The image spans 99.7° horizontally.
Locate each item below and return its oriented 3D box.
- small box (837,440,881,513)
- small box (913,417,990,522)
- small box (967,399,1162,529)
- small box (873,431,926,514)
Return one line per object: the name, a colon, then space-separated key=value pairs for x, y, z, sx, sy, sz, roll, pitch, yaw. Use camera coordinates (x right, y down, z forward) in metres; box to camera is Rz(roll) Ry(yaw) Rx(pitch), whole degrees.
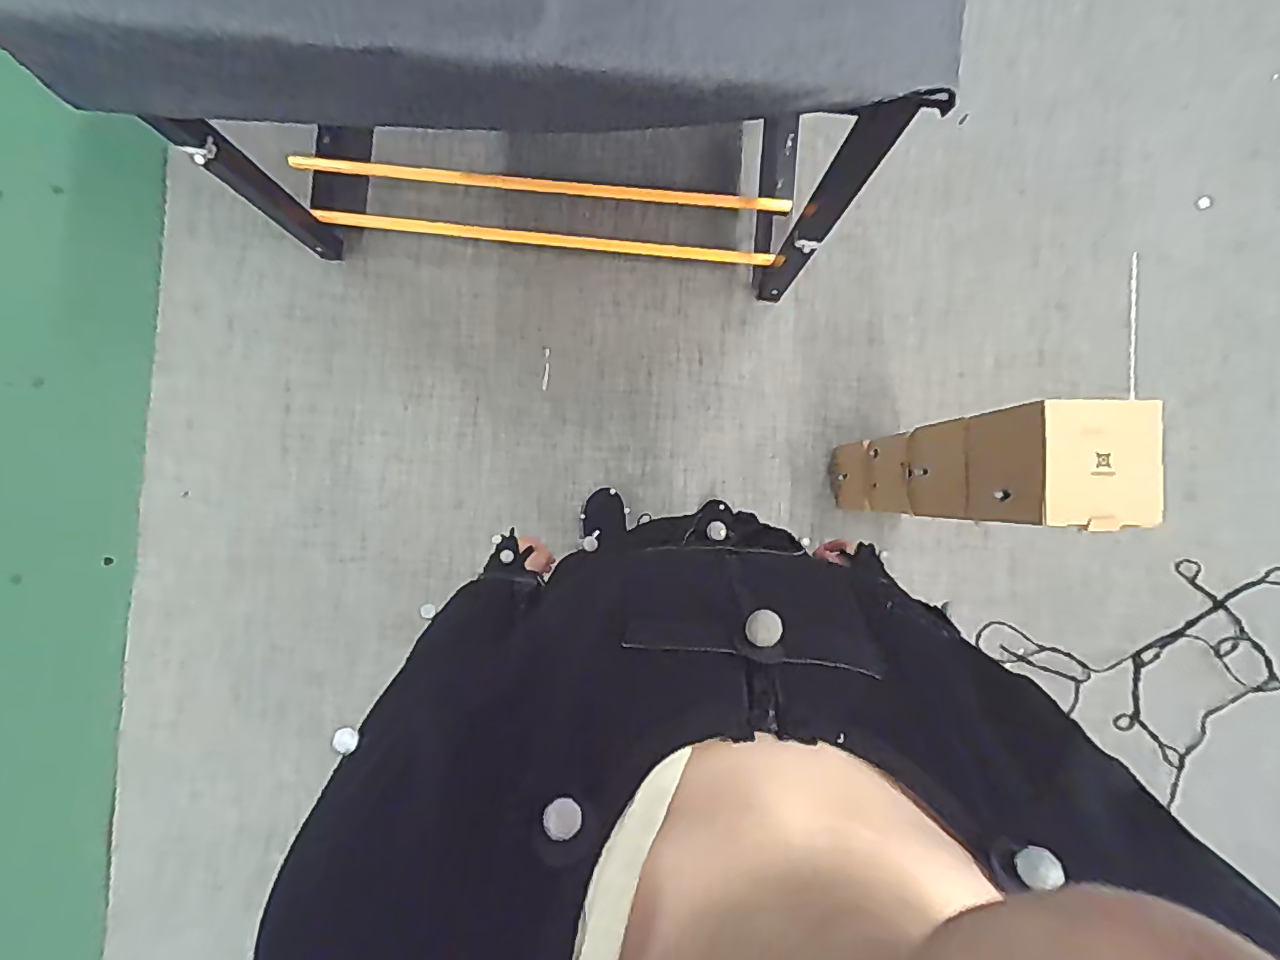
small box: x=0.592 y=-0.007 z=1.298 sx=0.179 sy=0.176 sz=0.168 roll=-1 pitch=87 yaw=0
small box: x=0.614 y=-0.017 z=0.971 sx=0.168 sy=0.176 sz=0.179 roll=0 pitch=89 yaw=-1
small box: x=0.619 y=-0.020 z=0.808 sx=0.168 sy=0.176 sz=0.179 roll=0 pitch=88 yaw=-2
small box: x=0.607 y=-0.011 z=1.134 sx=0.179 sy=0.176 sz=0.168 roll=-1 pitch=88 yaw=-2
